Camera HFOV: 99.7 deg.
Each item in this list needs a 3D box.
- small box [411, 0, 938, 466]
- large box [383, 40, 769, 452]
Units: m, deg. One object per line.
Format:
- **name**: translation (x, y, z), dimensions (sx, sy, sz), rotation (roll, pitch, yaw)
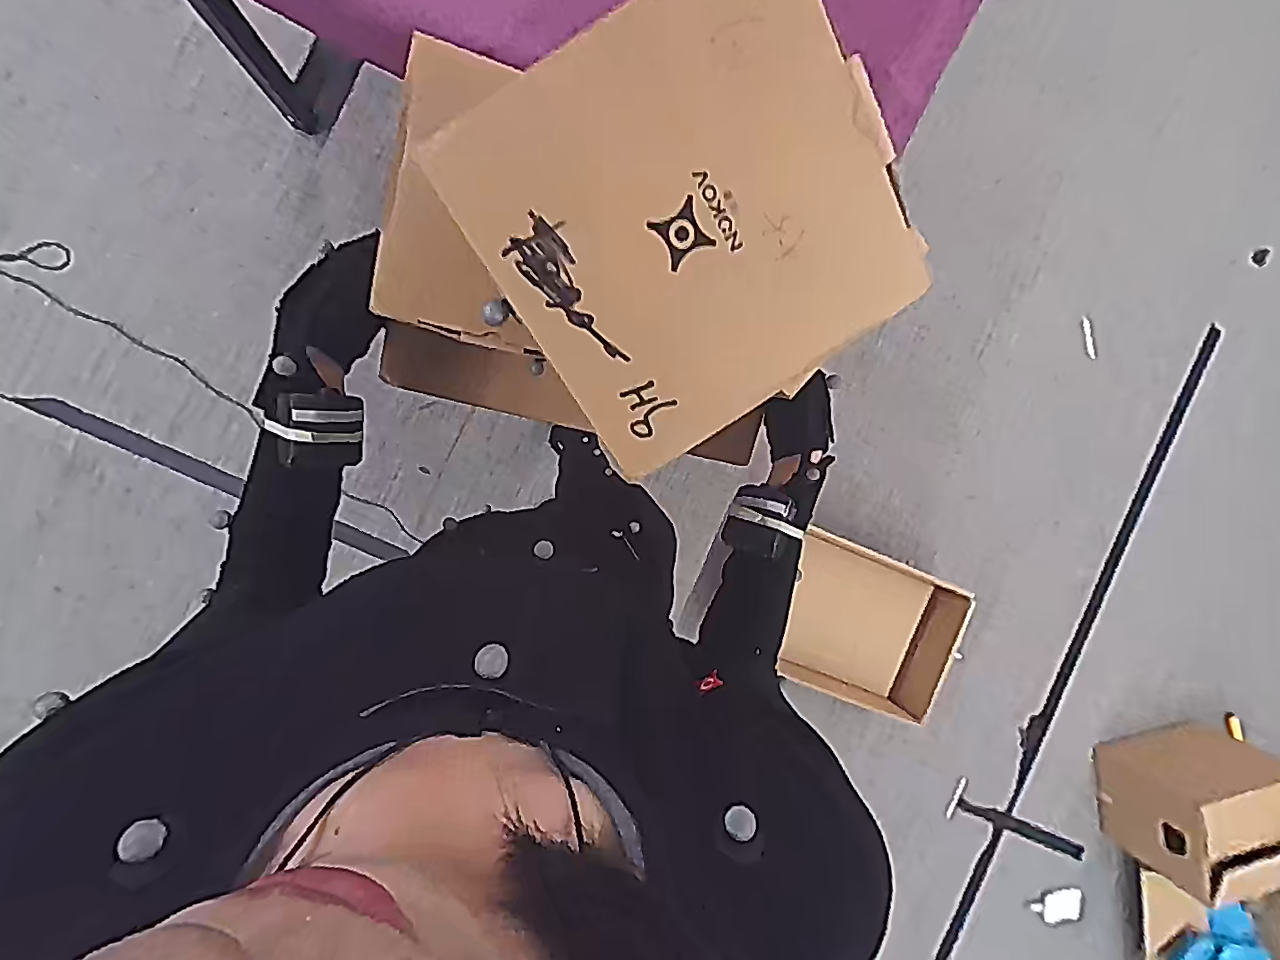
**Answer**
- **small box**: translation (0.012, -0.136, 0.300), dimensions (0.179, 0.176, 0.168), rotation (-33, 107, 0)
- **large box**: translation (-0.060, -0.240, 0.689), dimensions (0.408, 0.320, 0.320), rotation (11, 99, -14)
